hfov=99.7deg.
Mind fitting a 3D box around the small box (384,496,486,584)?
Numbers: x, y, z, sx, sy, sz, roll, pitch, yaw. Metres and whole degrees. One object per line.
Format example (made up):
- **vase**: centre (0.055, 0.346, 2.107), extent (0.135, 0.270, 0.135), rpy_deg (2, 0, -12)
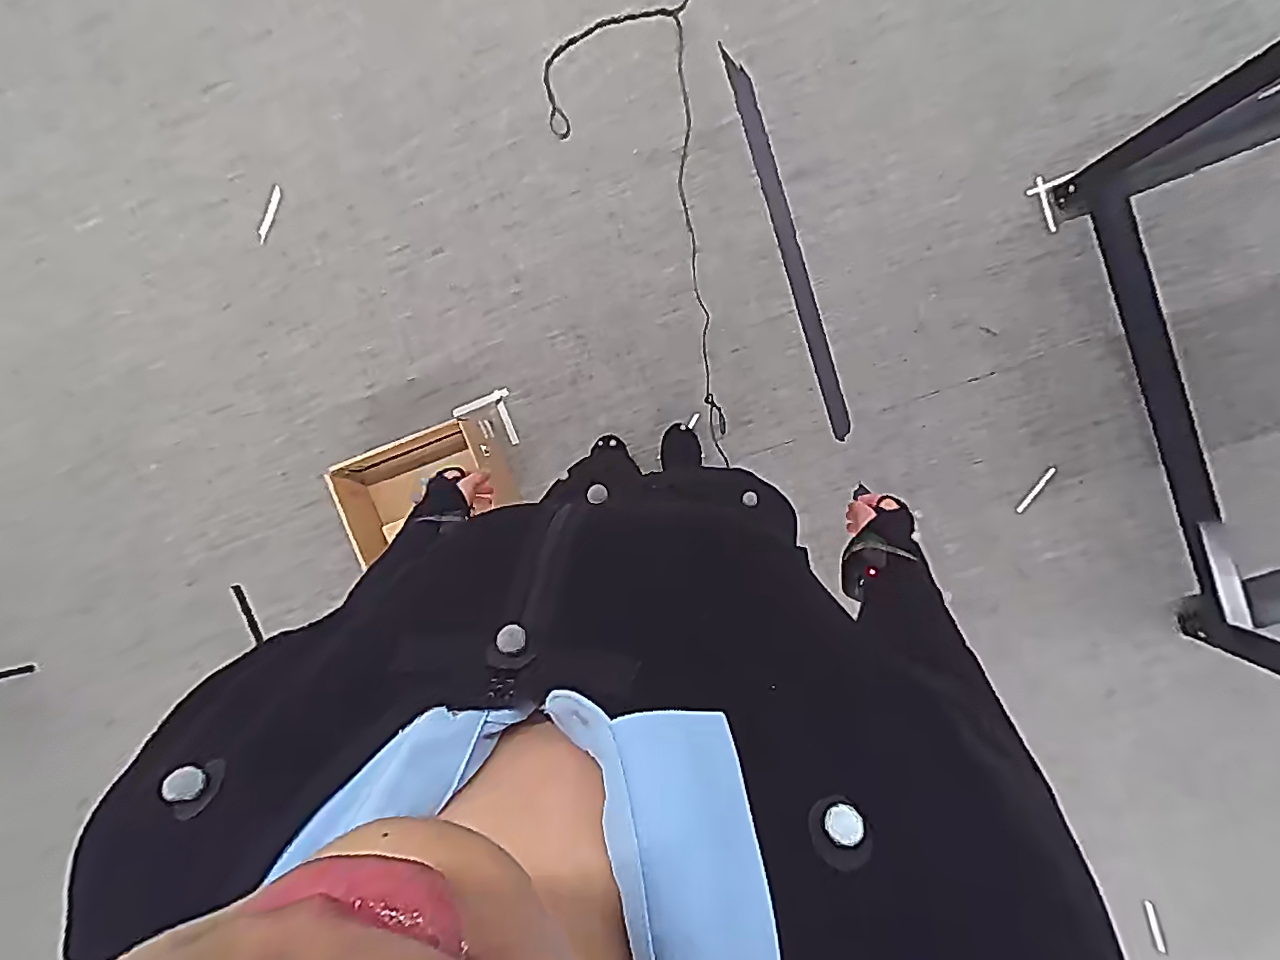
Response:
- **small box**: centre (-0.530, 0.151, 1.432), extent (0.179, 0.176, 0.168), rpy_deg (-20, 94, 7)
